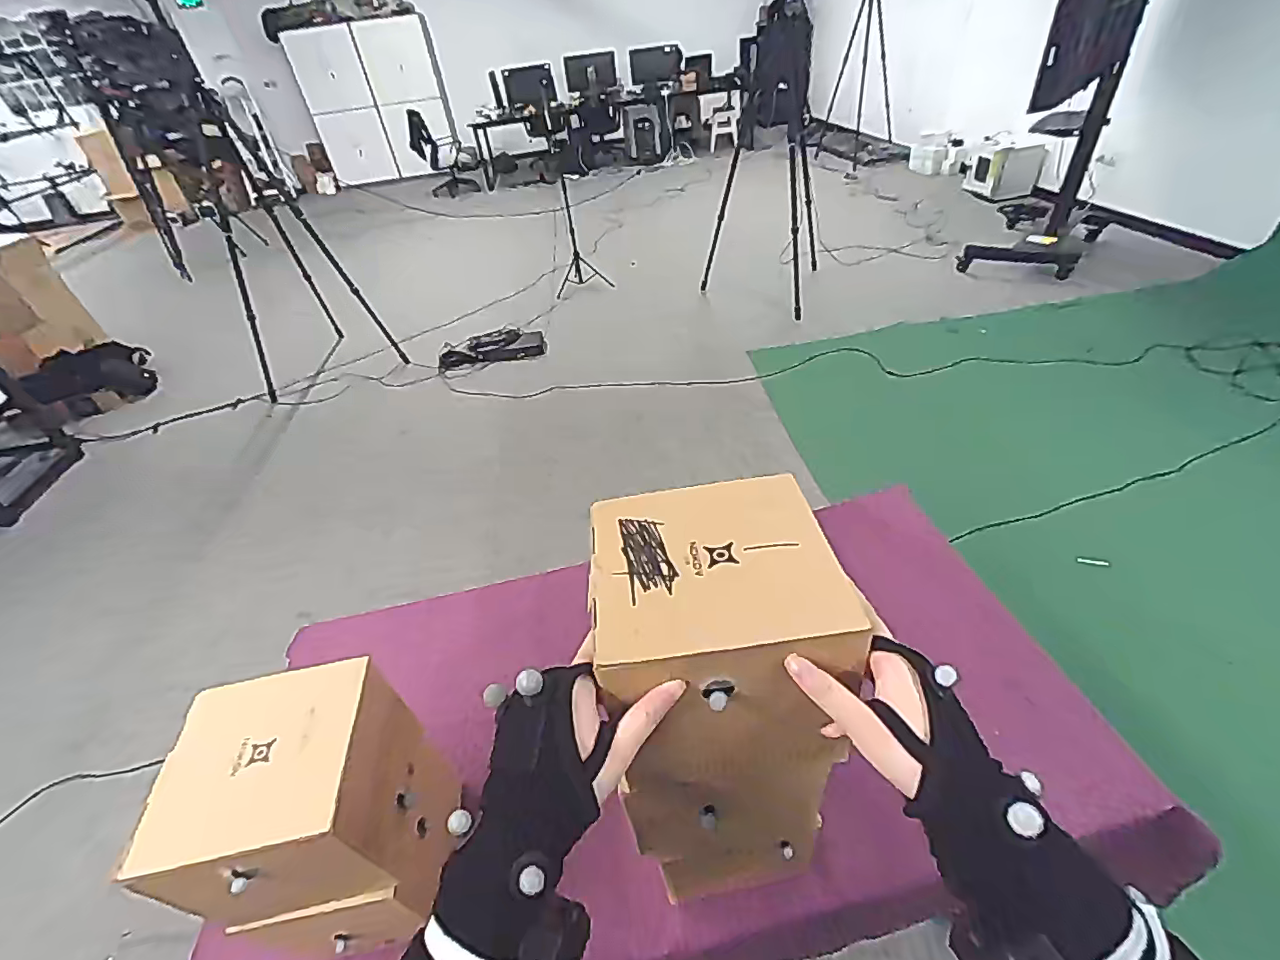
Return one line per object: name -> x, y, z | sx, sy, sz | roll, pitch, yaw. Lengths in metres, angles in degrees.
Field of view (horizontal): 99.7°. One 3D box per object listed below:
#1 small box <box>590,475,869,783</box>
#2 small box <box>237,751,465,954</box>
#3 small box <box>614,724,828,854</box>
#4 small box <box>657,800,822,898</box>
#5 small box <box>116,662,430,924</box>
small box -> 0.060, 0.120, 0.439 | 0.179, 0.176, 0.168 | -8, 37, 0
small box -> -0.322, 0.439, 0.651 | 0.168, 0.176, 0.179 | -10, 40, -2
small box -> 0.072, 0.250, 0.544 | 0.179, 0.176, 0.168 | -9, 39, 1
small box -> 0.100, 0.372, 0.653 | 0.179, 0.176, 0.168 | -12, 40, -3
small box -> -0.338, 0.316, 0.546 | 0.179, 0.176, 0.168 | -11, 41, -3
